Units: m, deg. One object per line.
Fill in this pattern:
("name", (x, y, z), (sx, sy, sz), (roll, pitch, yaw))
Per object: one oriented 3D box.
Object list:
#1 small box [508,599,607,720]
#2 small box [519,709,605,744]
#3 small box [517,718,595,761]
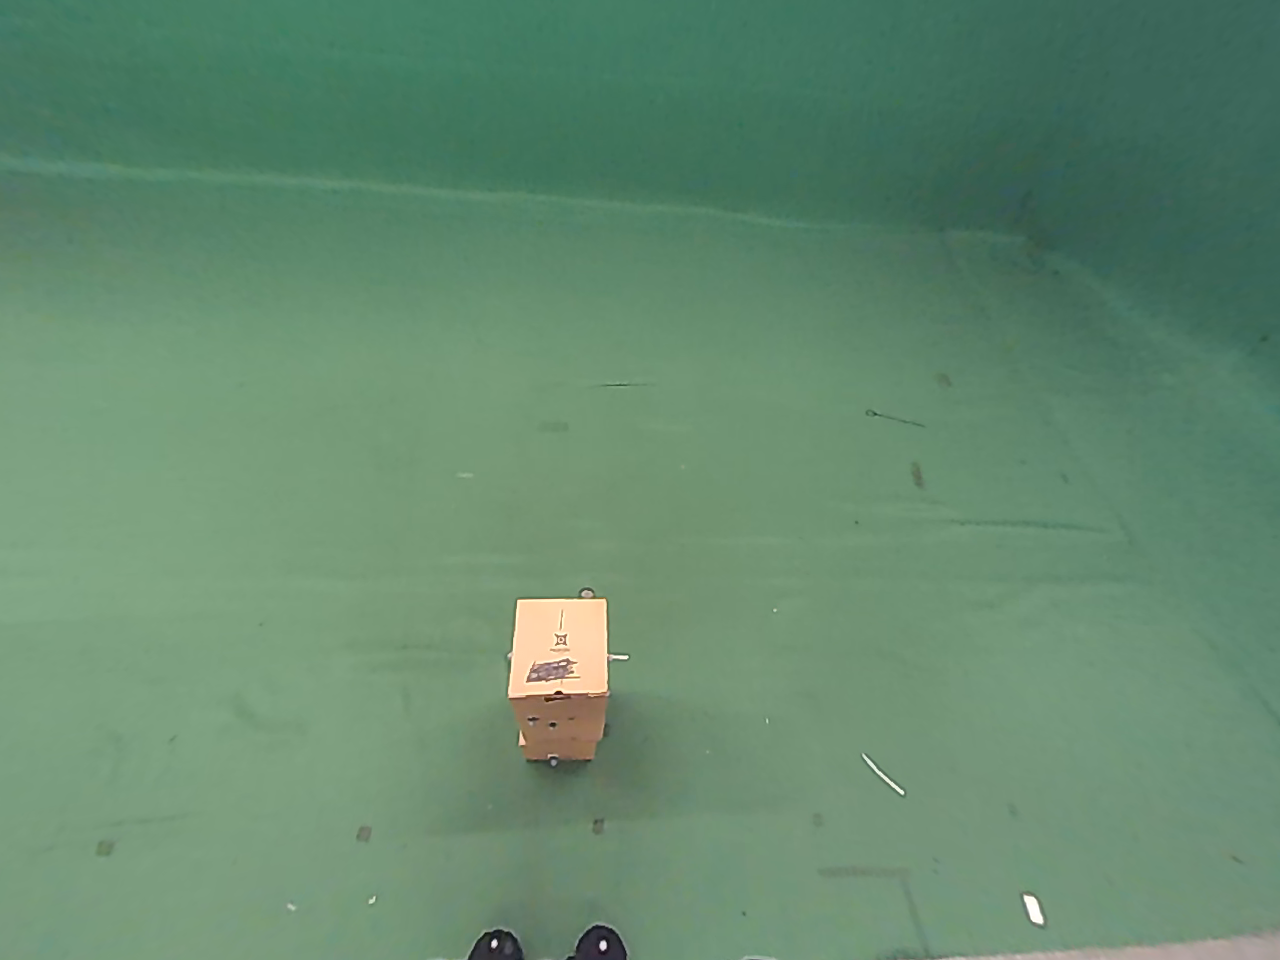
("small box", (-0.146, 0.338, 1.006), (0.168, 0.176, 0.179), (1, 51, -6))
("small box", (-0.159, 0.438, 1.136), (0.168, 0.176, 0.179), (1, 51, -6))
("small box", (-0.183, 0.531, 1.246), (0.168, 0.176, 0.179), (2, 52, -3))
